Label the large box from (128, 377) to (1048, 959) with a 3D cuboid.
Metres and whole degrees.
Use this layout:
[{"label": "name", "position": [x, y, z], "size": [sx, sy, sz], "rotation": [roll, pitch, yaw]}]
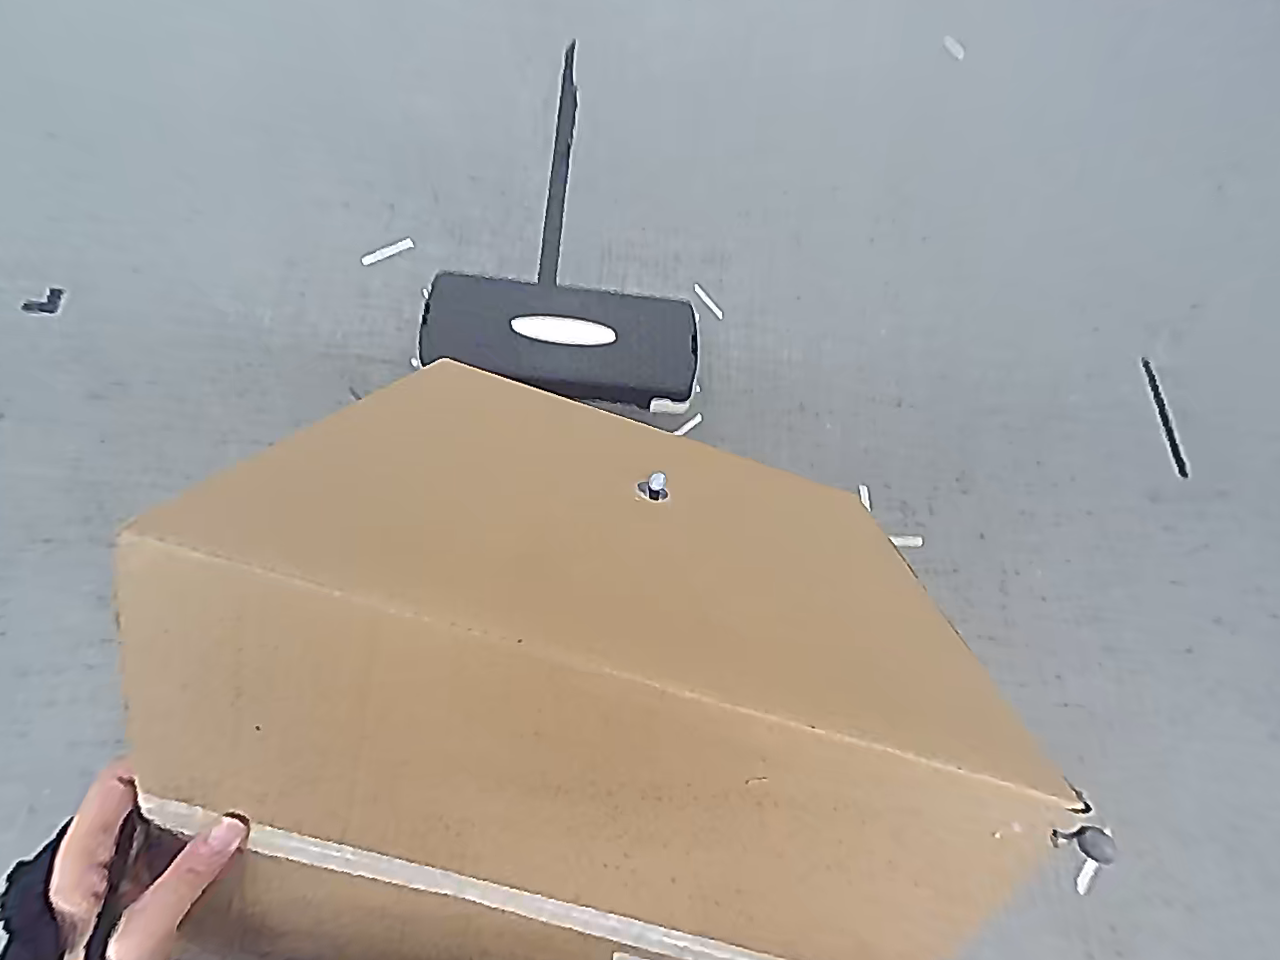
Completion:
[{"label": "large box", "position": [-0.045, 0.149, 0.418], "size": [0.408, 0.320, 0.320], "rotation": [17, 25, -5]}]
